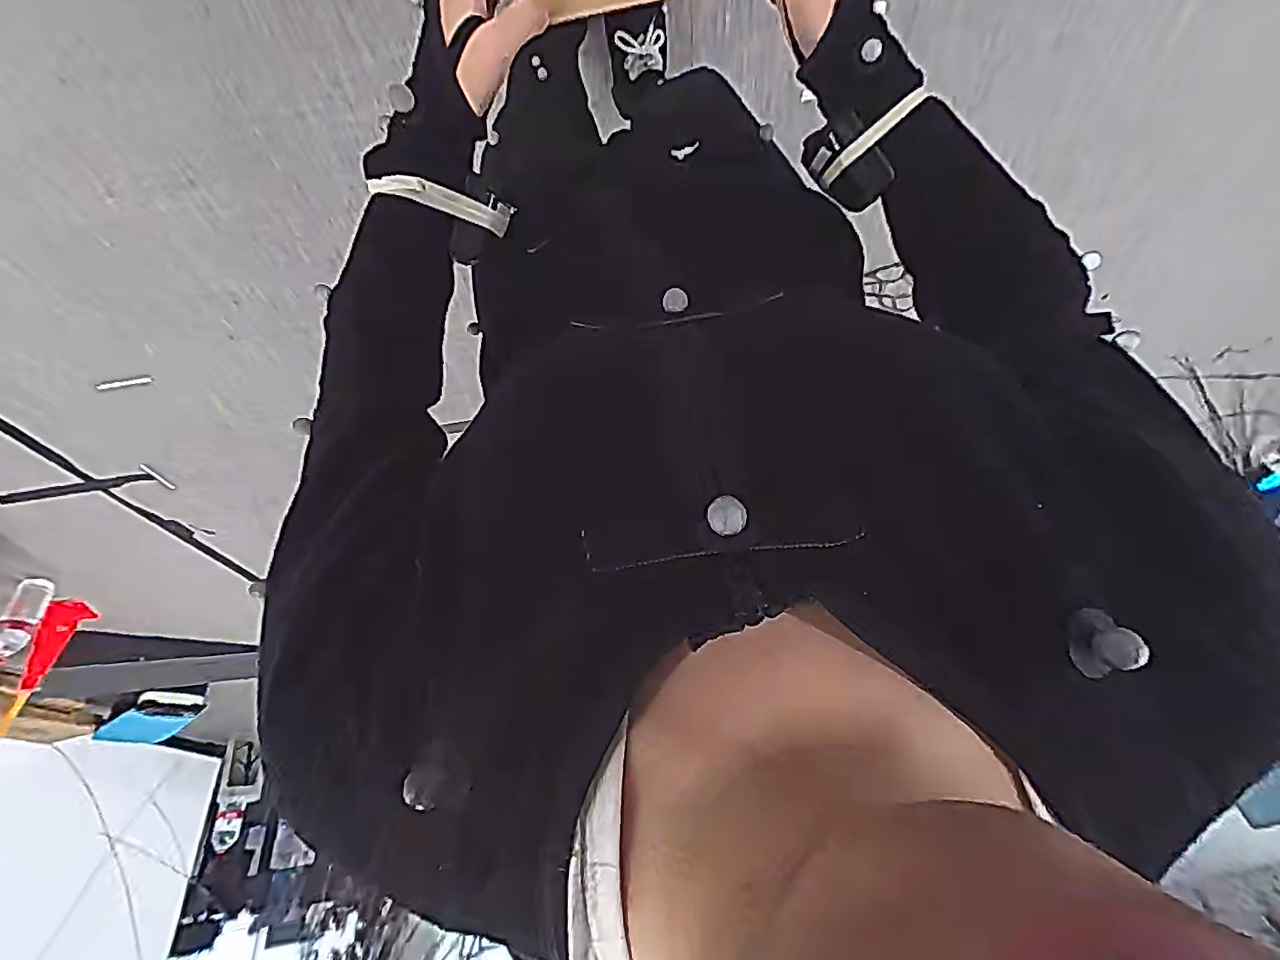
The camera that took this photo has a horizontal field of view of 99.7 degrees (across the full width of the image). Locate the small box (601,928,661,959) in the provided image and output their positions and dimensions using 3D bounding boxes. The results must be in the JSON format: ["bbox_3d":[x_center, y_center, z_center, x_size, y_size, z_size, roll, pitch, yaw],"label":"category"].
[{"bbox_3d":[-0.019,1.454,1.601,0.168,0.176,0.179,-10,146,-2],"label":"small box"}]
